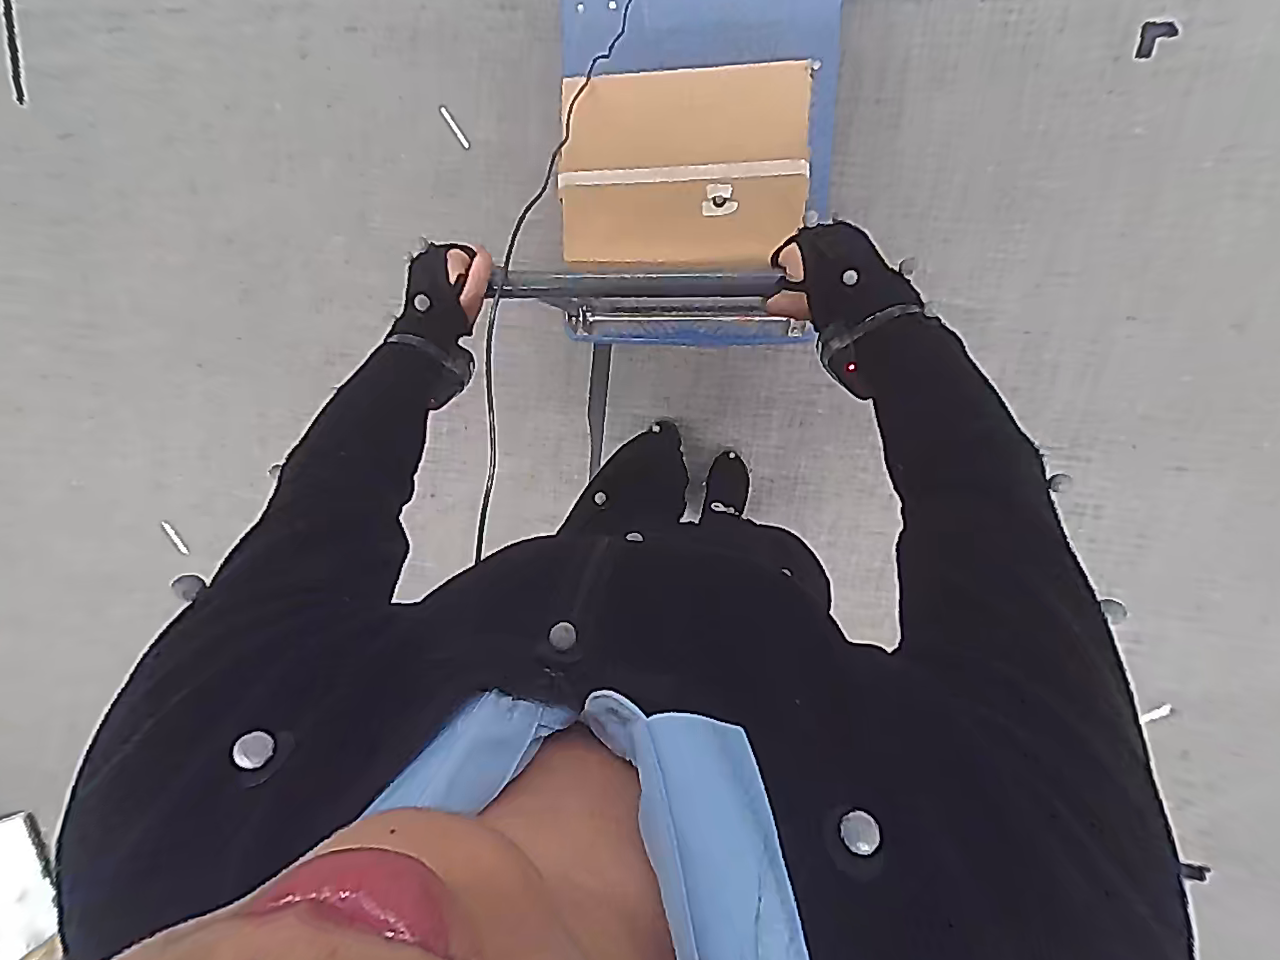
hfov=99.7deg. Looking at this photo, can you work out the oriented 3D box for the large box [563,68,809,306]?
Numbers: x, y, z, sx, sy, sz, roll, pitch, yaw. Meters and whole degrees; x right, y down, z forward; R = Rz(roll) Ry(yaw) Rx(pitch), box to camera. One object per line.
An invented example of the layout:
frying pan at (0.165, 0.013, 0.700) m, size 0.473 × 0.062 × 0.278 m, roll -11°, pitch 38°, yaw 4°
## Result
large box at (0.087, -0.521, 1.038) m, size 0.408 × 0.320 × 0.320 m, roll 2°, pitch 101°, yaw 8°
